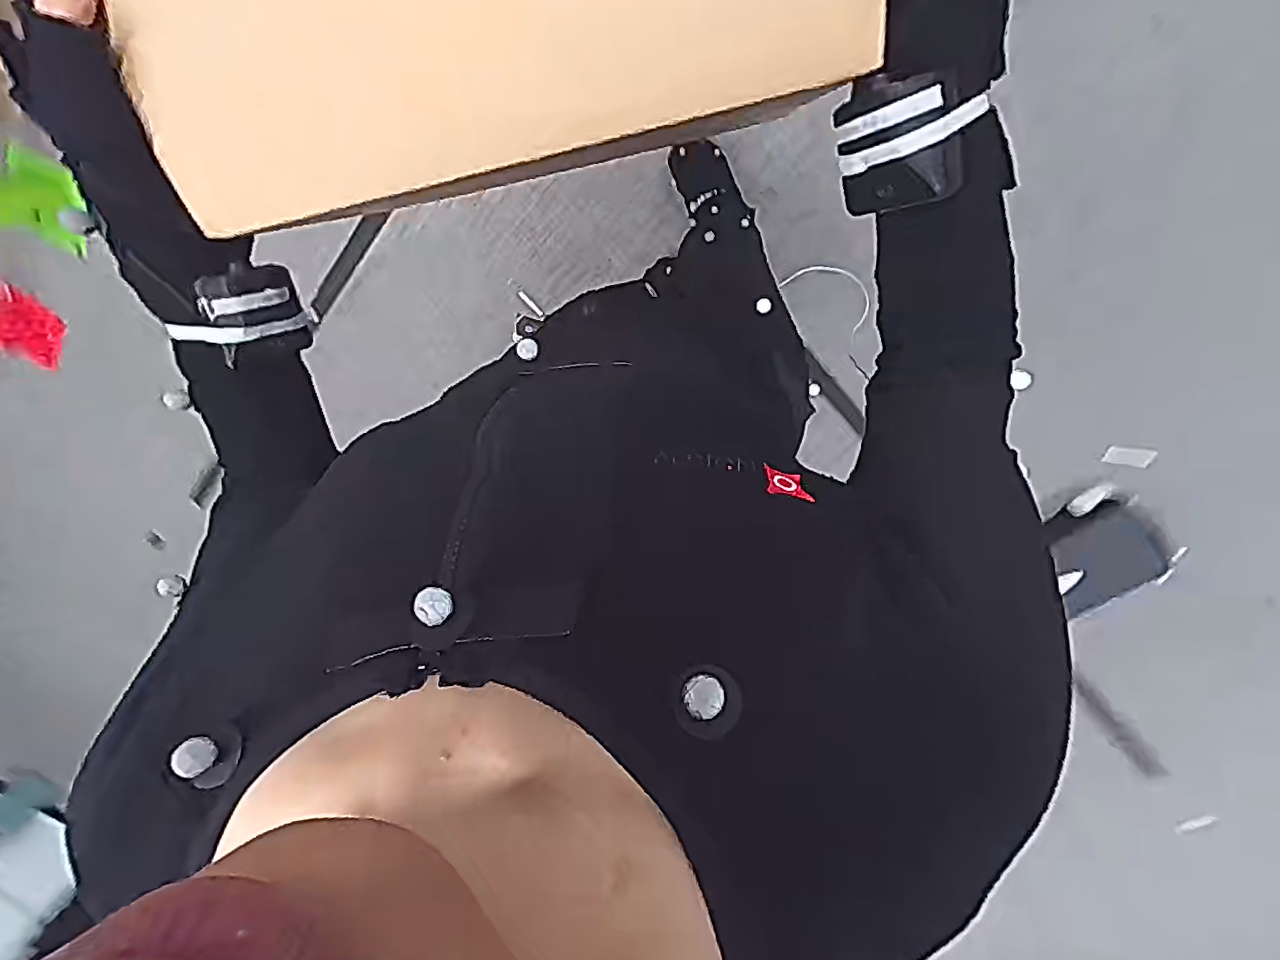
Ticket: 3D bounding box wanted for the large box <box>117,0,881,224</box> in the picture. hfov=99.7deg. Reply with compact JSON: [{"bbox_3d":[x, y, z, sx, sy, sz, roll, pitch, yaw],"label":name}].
[{"bbox_3d":[-0.087,-0.395,0.374,0.408,0.320,0.320,-7,120,10],"label":"large box"}]
